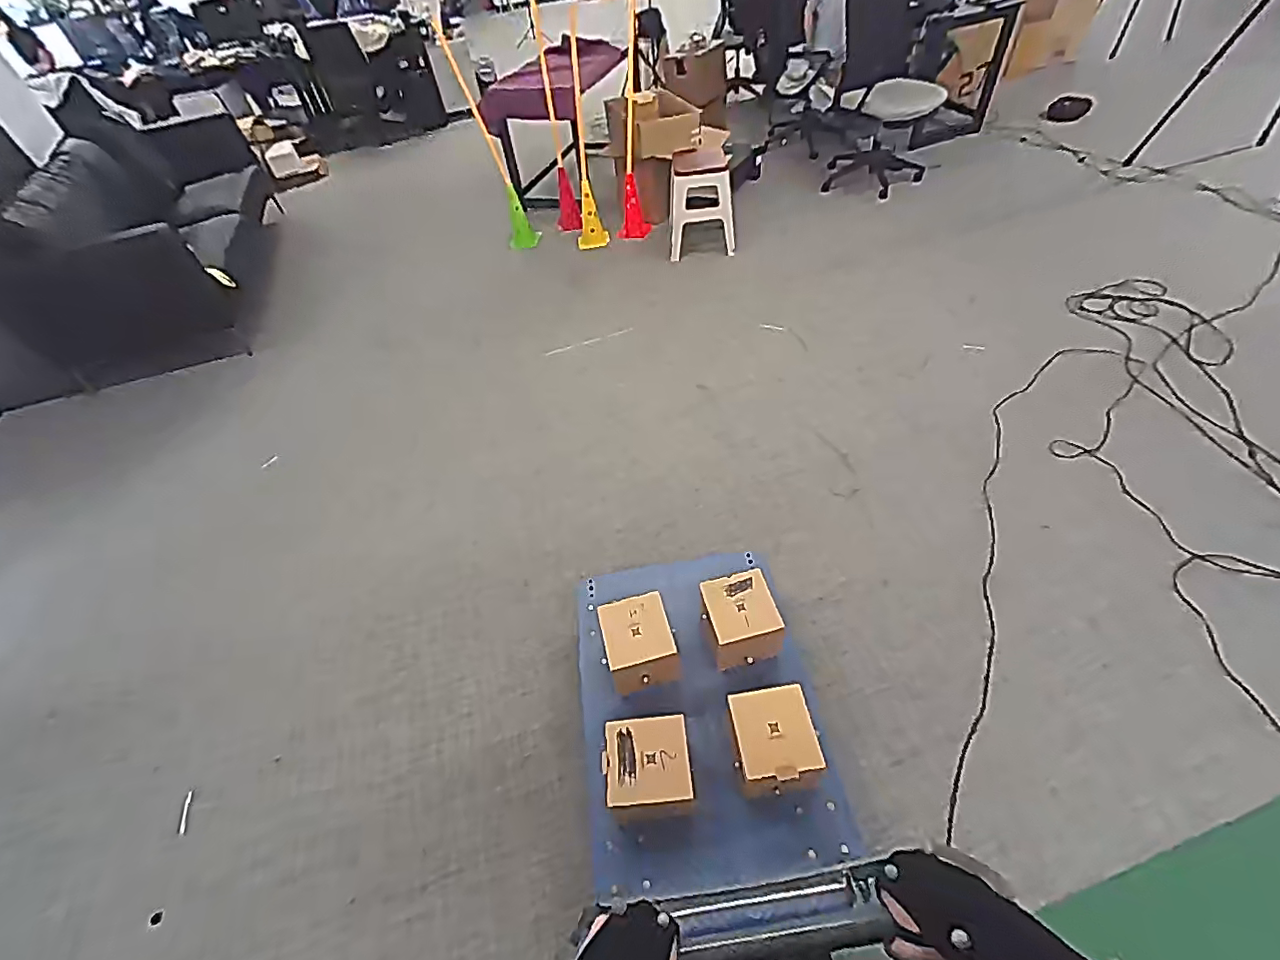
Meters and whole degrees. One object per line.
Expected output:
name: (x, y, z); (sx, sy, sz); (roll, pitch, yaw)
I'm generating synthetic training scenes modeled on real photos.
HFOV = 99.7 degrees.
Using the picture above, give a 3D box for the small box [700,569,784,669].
small box: (0.255, 0.362, 1.400); (0.168, 0.176, 0.179); (-13, 50, -4)

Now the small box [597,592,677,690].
small box: (-0.004, 0.418, 1.381); (0.168, 0.176, 0.179); (-13, 49, -6)

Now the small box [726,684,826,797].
small box: (0.292, 0.582, 1.205); (0.168, 0.176, 0.179); (-9, 50, -1)
